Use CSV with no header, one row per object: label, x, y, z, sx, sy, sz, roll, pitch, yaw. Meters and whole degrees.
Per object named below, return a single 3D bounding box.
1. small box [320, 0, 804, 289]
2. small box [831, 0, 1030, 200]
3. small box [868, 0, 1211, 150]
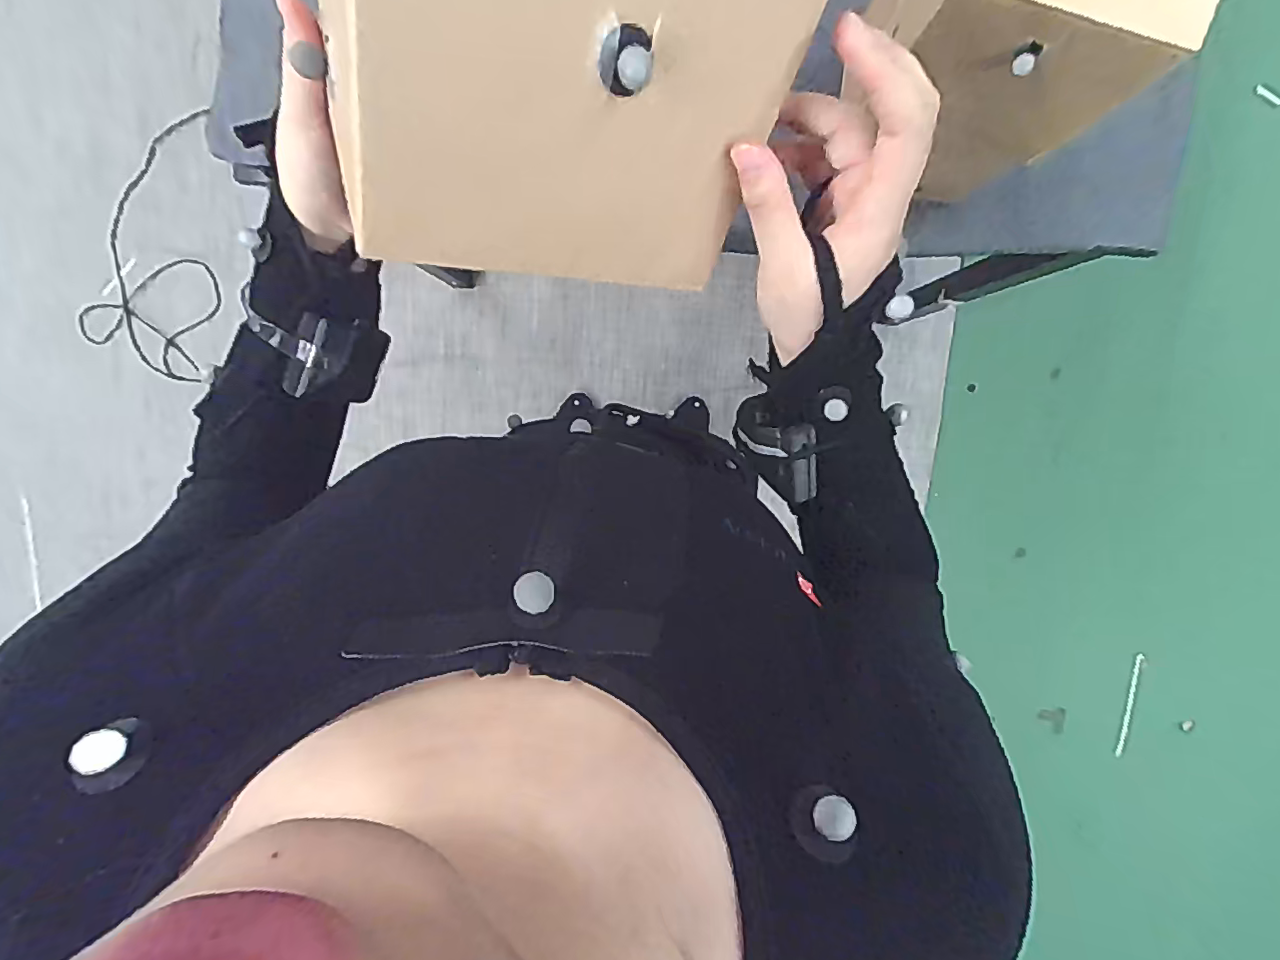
small box,-0.047,-0.211,0.239,0.168,0.179,0.176,-6,142,-30
small box,0.326,-0.440,0.598,0.168,0.176,0.179,6,98,1
small box,0.321,-0.404,0.439,0.179,0.176,0.168,17,97,0
